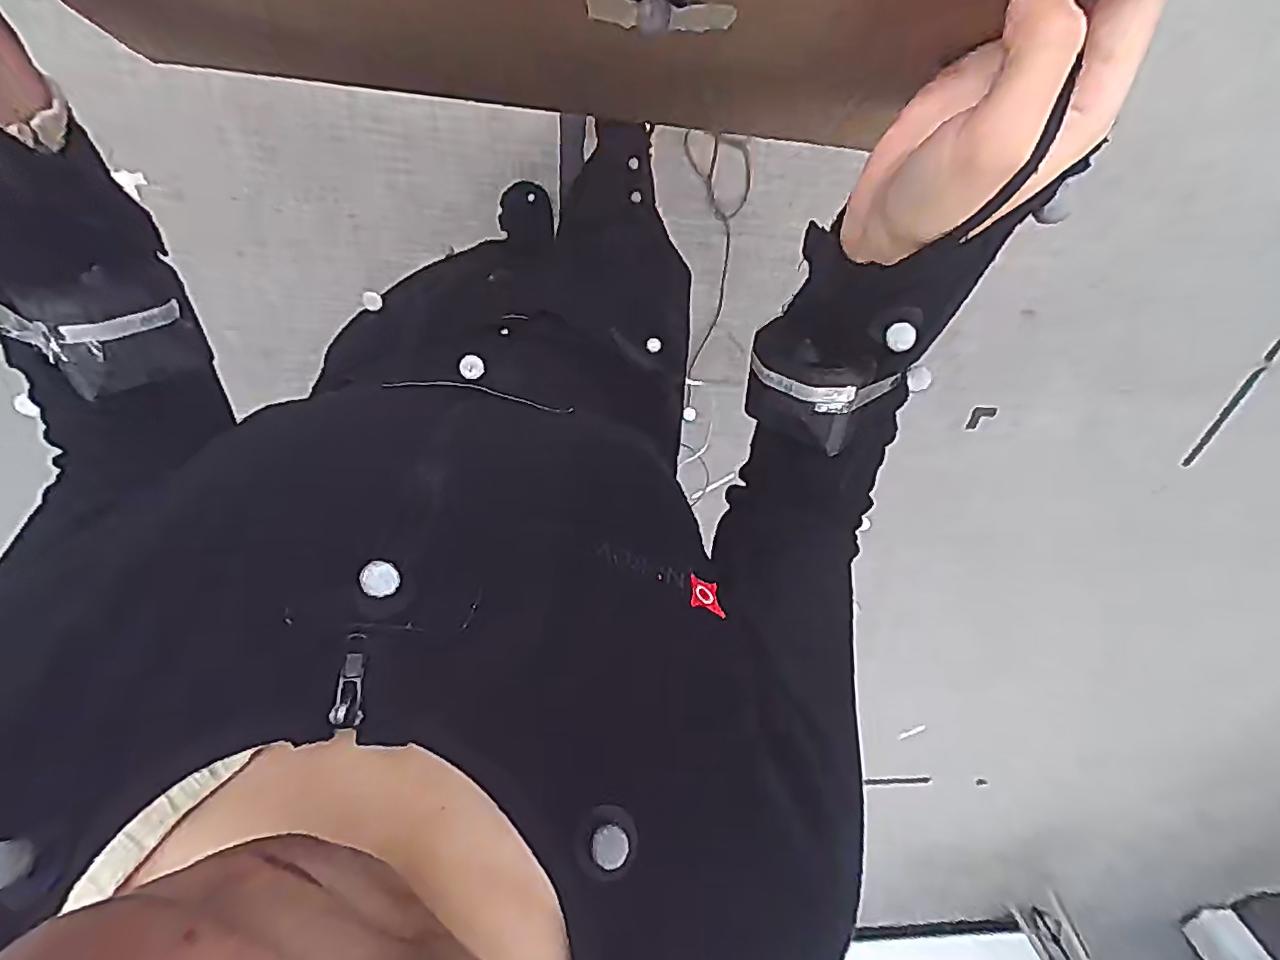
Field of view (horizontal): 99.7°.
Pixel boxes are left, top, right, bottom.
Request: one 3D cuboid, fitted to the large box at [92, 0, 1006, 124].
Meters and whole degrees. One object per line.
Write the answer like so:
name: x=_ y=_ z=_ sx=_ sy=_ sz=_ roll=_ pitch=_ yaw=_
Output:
large box: x=-0.044 y=-0.341 z=0.128 sx=0.408 sy=0.320 sz=0.320 roll=5 pitch=100 yaw=-2
